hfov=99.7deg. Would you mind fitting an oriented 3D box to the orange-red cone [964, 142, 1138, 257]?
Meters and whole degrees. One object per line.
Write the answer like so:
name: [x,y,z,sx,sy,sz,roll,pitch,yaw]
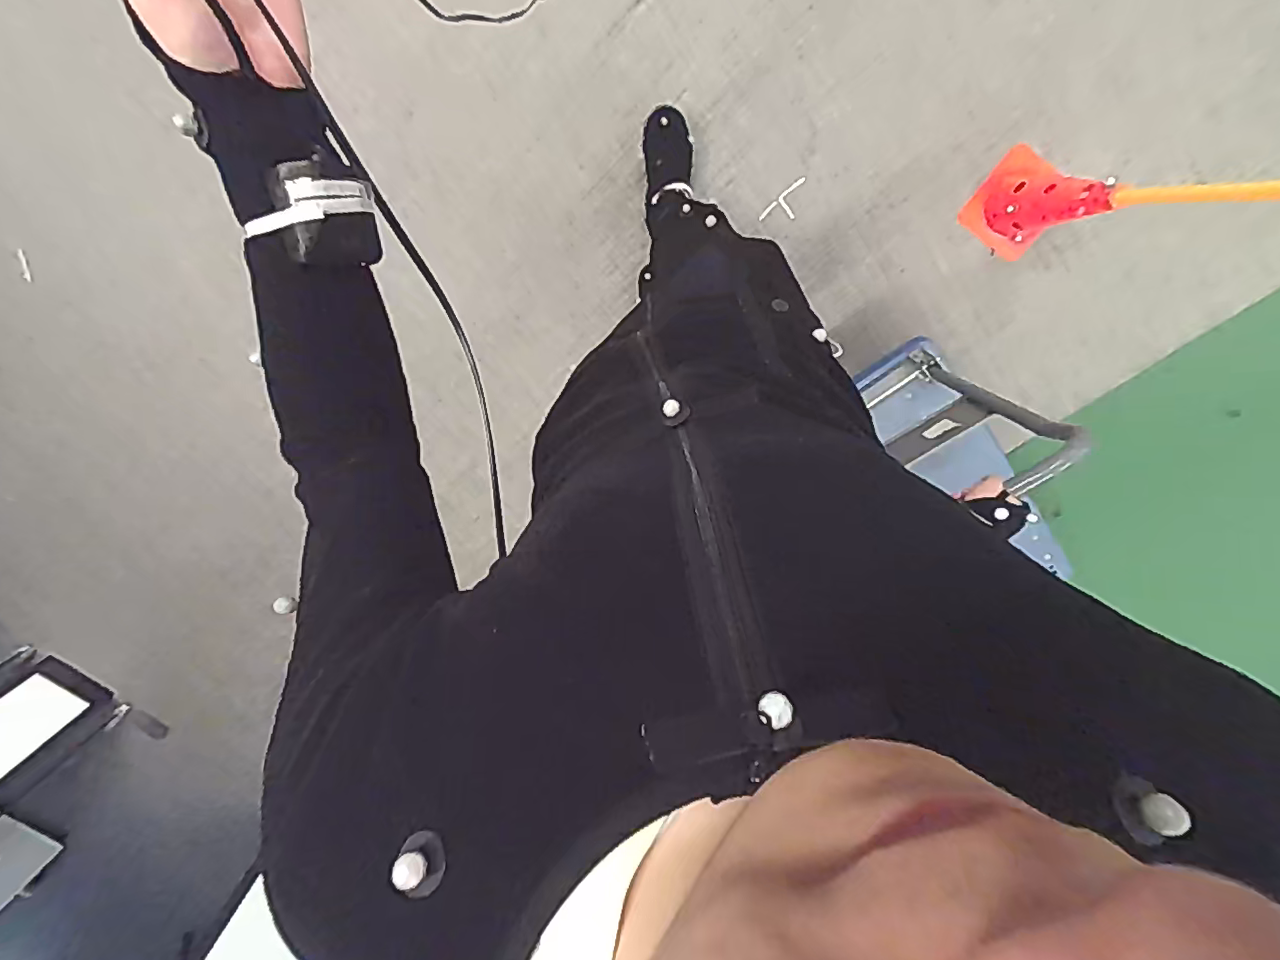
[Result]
orange-red cone: [0.910,-0.607,1.158,0.198,0.360,0.199,32,112,-11]
